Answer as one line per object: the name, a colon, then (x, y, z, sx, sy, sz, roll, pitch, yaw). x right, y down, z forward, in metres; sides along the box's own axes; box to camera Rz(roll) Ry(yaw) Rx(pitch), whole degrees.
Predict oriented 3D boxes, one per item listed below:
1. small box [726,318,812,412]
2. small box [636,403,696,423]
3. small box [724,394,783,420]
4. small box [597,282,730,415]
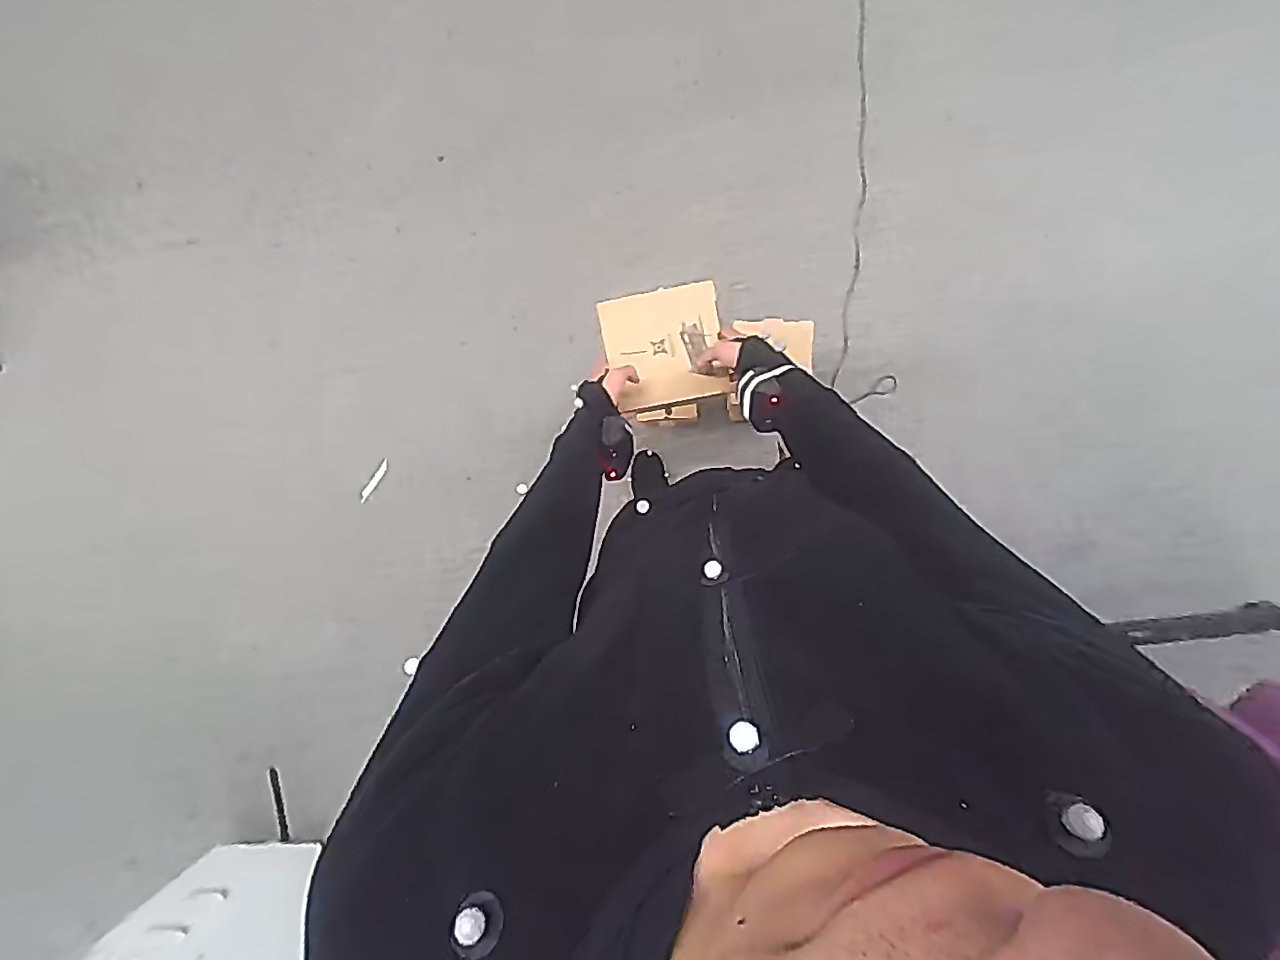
small box: (0.277, -0.248, 1.193, 0.168, 0.176, 0.179, 2, 92, 7)
small box: (0.075, -0.258, 1.544, 0.168, 0.176, 0.179, -3, 93, 8)
small box: (0.320, -0.268, 1.515, 0.168, 0.176, 0.179, -7, 93, 8)
small box: (0.035, -0.202, 0.873, 0.179, 0.176, 0.168, -11, 94, 2)
